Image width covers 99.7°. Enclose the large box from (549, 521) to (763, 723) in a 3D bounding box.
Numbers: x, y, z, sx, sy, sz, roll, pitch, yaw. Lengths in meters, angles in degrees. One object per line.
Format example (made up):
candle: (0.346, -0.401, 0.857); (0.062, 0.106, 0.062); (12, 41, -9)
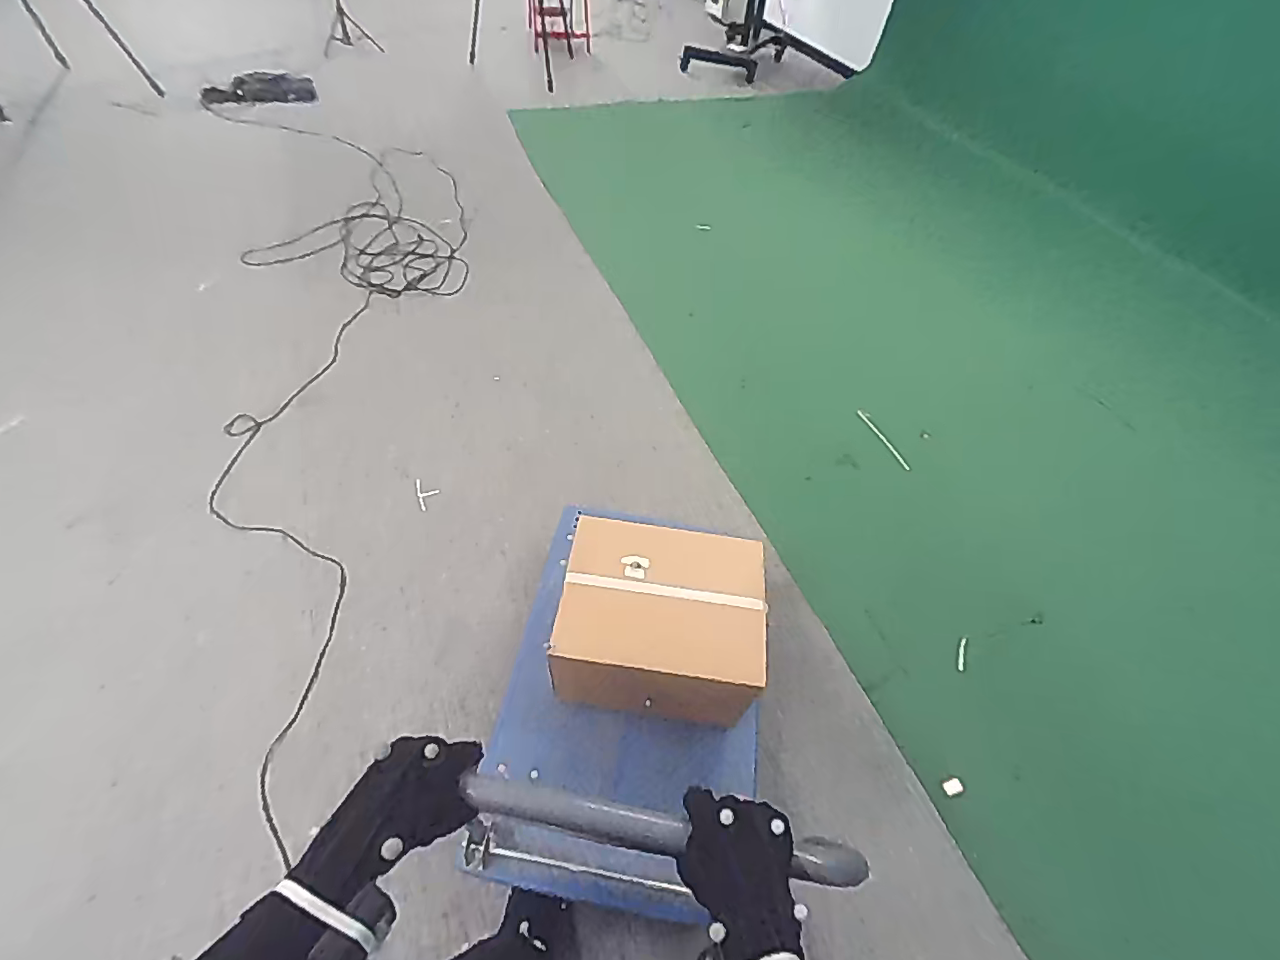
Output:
large box: (0.036, 0.321, 1.199); (0.408, 0.320, 0.320); (8, 51, 1)
